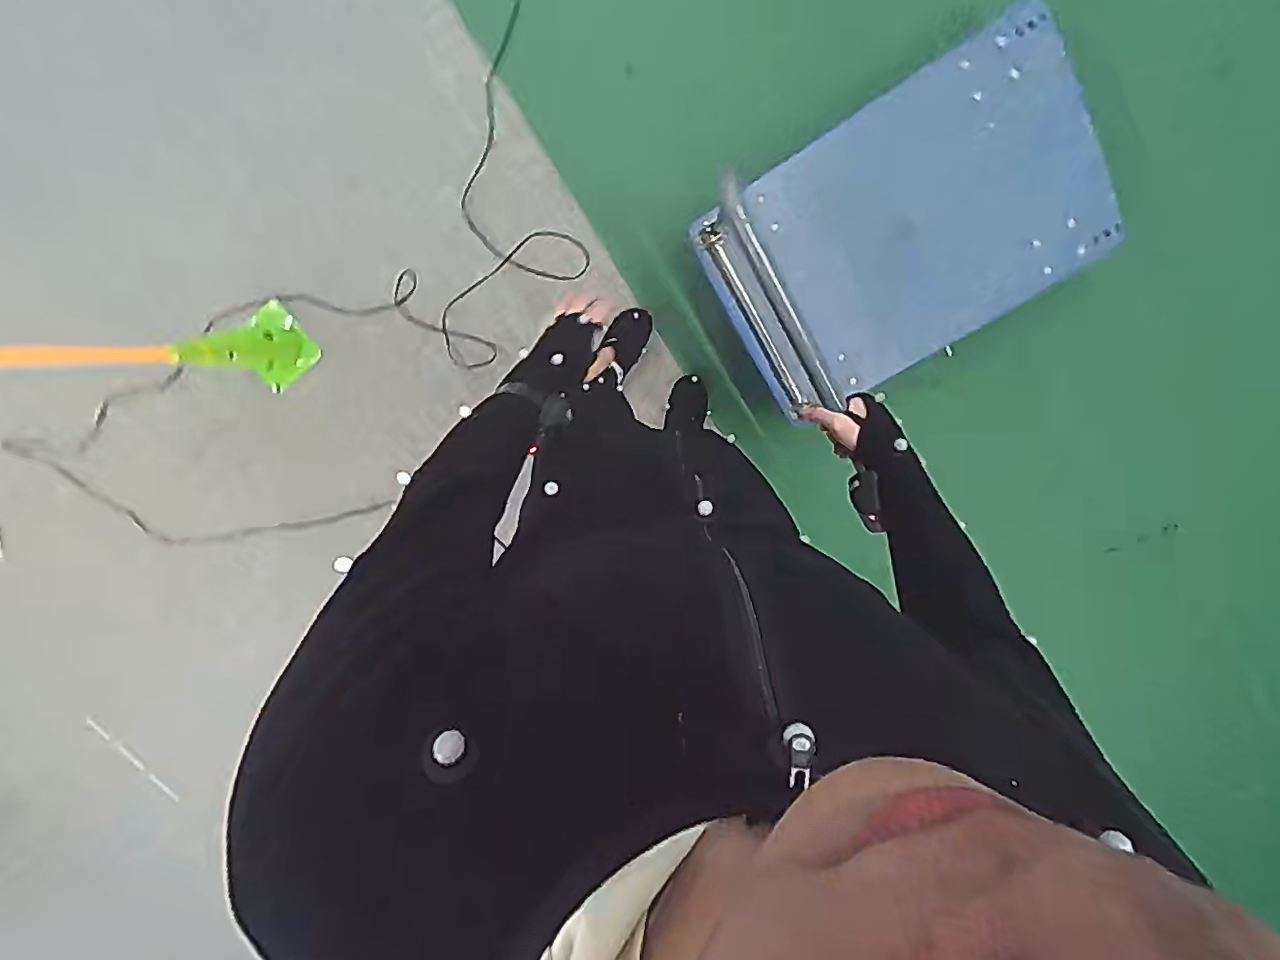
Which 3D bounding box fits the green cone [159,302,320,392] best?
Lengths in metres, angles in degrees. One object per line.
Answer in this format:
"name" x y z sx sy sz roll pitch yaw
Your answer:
"green cone" -1.071 -0.342 1.415 0.200 0.368 0.202 -36 99 12
